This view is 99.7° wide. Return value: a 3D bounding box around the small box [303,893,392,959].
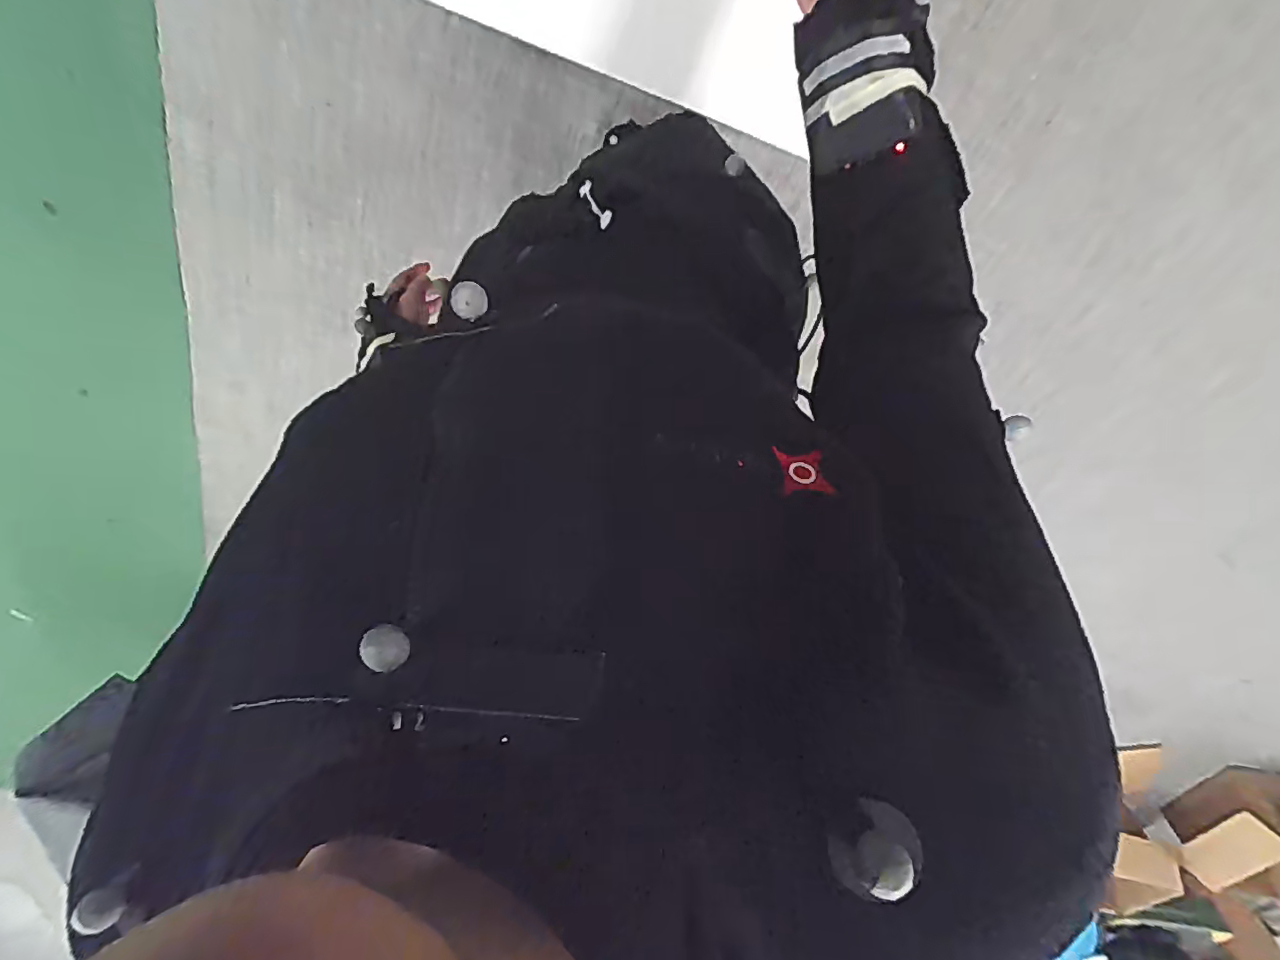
[{"bbox_3d":[-0.793,1.266,1.475,0.168,0.176,0.179,13,125,-6],"label":"small box"}]
